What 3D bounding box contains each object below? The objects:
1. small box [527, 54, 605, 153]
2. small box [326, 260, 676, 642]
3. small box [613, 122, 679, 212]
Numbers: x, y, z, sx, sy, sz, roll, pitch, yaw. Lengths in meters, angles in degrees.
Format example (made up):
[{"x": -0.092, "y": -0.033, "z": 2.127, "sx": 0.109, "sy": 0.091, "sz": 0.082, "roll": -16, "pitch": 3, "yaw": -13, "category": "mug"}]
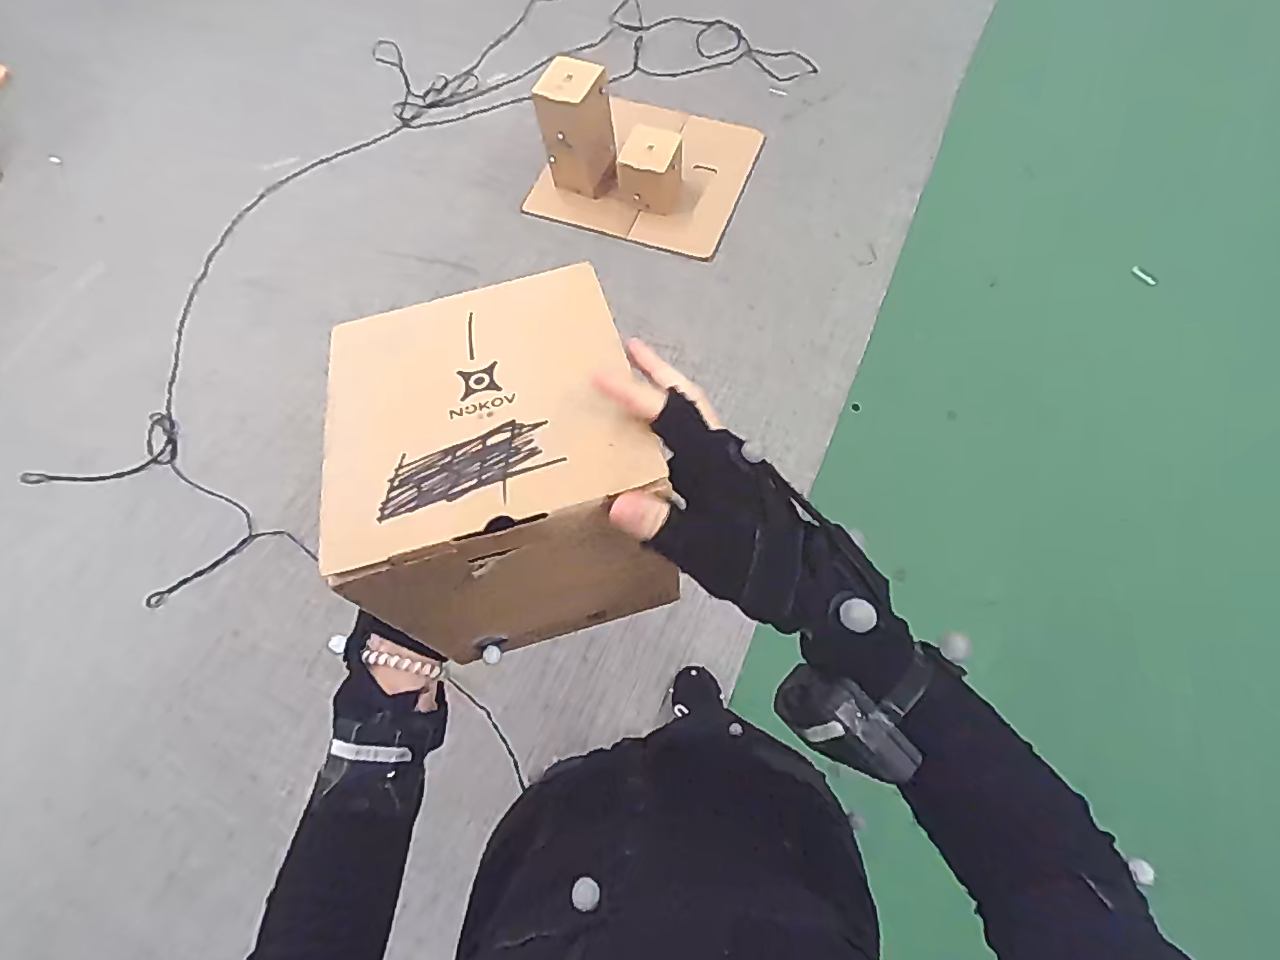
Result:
[{"x": -0.219, "y": -1.158, "z": 1.668, "sx": 0.168, "sy": 0.176, "sz": 0.179, "roll": 22, "pitch": 73, "yaw": 12, "category": "small box"}, {"x": -0.078, "y": -0.006, "z": 0.361, "sx": 0.168, "sy": 0.176, "sz": 0.179, "roll": -16, "pitch": 58, "yaw": -3, "category": "small box"}, {"x": 0.023, "y": -1.027, "z": 1.782, "sx": 0.168, "sy": 0.176, "sz": 0.179, "roll": 18, "pitch": 73, "yaw": 9, "category": "small box"}]
